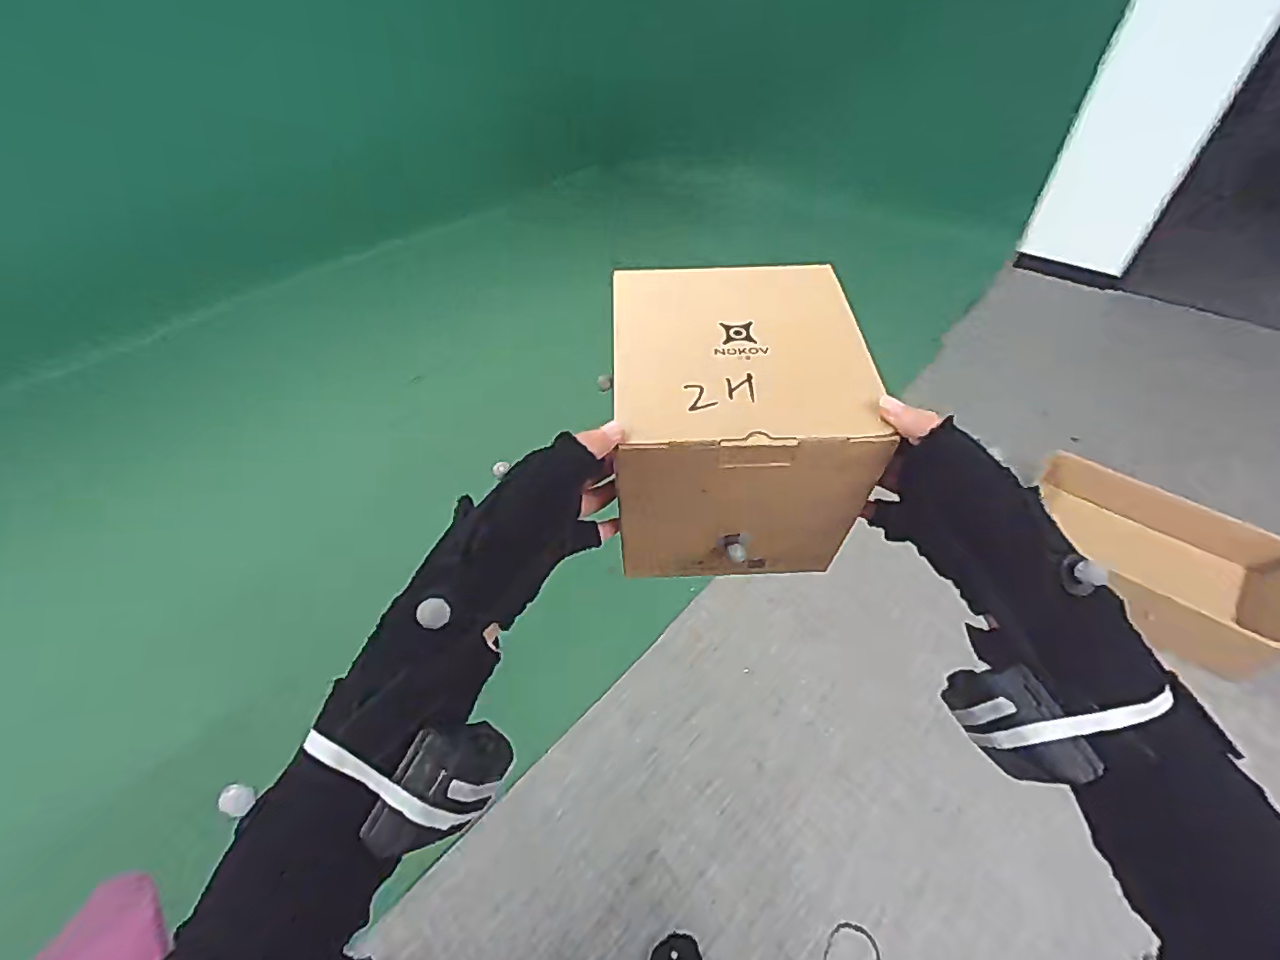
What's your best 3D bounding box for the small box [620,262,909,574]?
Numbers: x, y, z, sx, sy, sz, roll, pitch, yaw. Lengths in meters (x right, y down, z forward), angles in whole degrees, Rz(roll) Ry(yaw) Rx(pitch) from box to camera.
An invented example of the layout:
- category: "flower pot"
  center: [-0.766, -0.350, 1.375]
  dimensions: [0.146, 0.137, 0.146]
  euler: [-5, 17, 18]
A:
- category: "small box"
  center: [0.070, -0.044, 0.416]
  dimensions: [0.168, 0.176, 0.179]
  euler: [-1, 54, 1]
